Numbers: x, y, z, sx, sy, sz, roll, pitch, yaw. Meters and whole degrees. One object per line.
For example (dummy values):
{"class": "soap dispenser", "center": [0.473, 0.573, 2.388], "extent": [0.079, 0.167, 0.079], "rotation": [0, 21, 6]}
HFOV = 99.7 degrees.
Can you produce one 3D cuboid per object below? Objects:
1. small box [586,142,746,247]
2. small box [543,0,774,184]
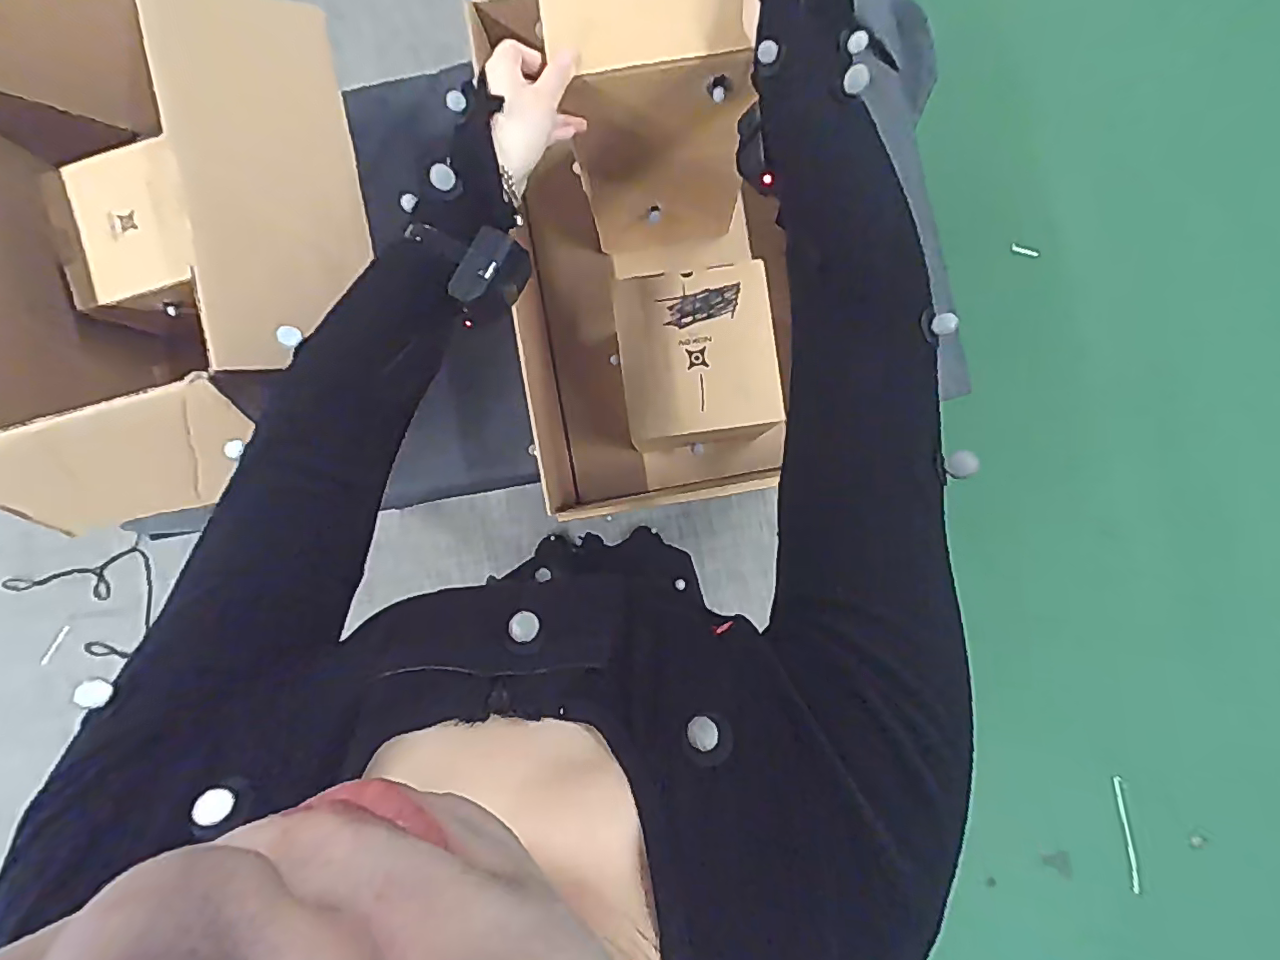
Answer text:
{"class": "small box", "center": [0.023, -0.406, 0.660], "extent": [0.179, 0.176, 0.168], "rotation": [-9, 91, 3]}
{"class": "small box", "center": [0.013, -0.401, 0.497], "extent": [0.179, 0.176, 0.168], "rotation": [-7, 91, 2]}
